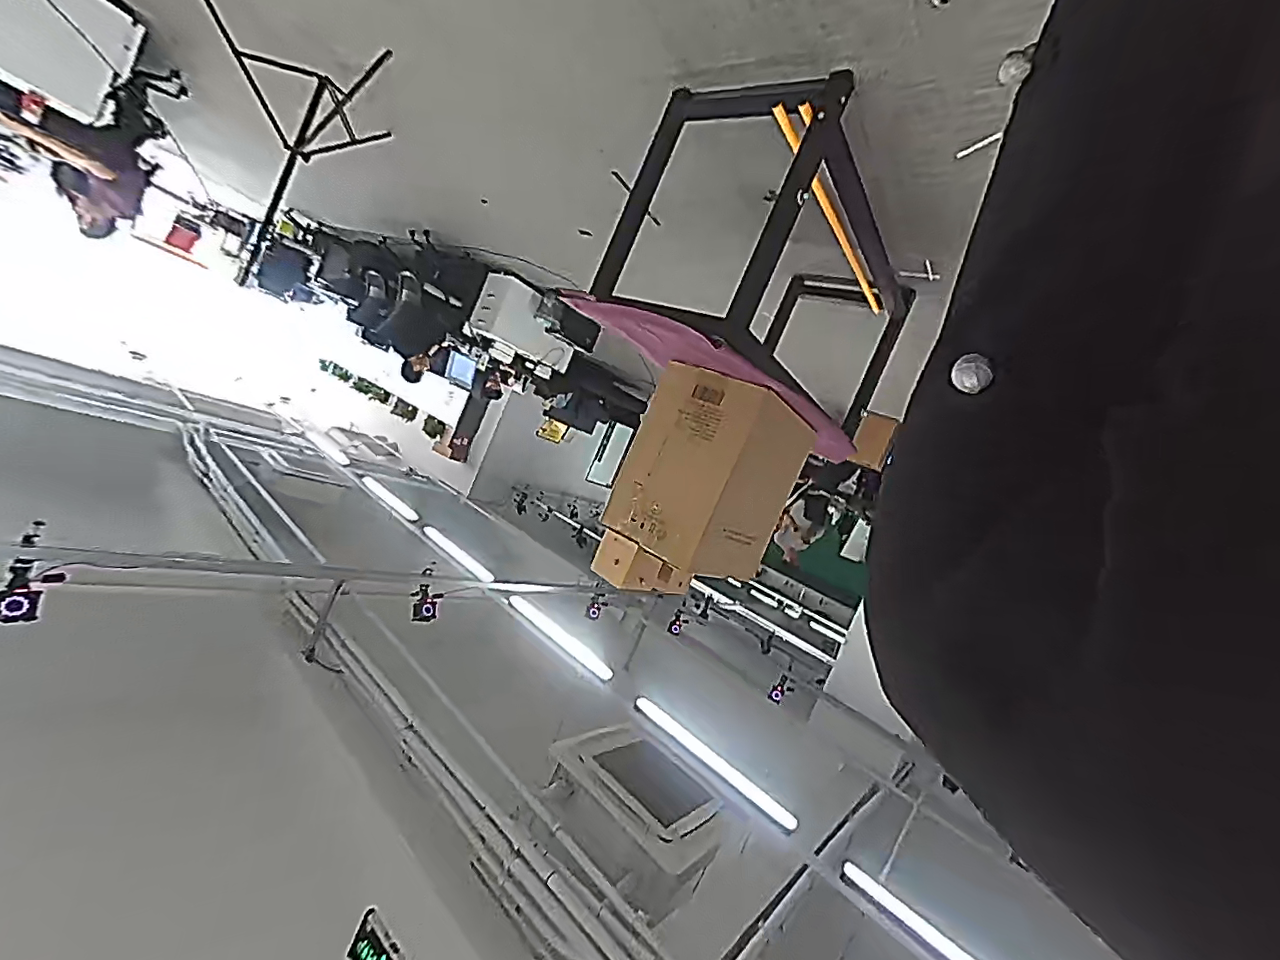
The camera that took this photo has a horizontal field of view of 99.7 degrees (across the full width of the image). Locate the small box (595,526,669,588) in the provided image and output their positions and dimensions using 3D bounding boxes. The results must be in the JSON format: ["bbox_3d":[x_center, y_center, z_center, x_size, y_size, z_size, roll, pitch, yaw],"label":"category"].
[{"bbox_3d":[-0.026,0.271,1.929,0.168,0.176,0.179,25,-174,41],"label":"small box"}]

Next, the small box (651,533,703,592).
[{"bbox_3d":[0.119,0.322,2.118,0.168,0.176,0.179,23,-179,37],"label":"small box"}]
